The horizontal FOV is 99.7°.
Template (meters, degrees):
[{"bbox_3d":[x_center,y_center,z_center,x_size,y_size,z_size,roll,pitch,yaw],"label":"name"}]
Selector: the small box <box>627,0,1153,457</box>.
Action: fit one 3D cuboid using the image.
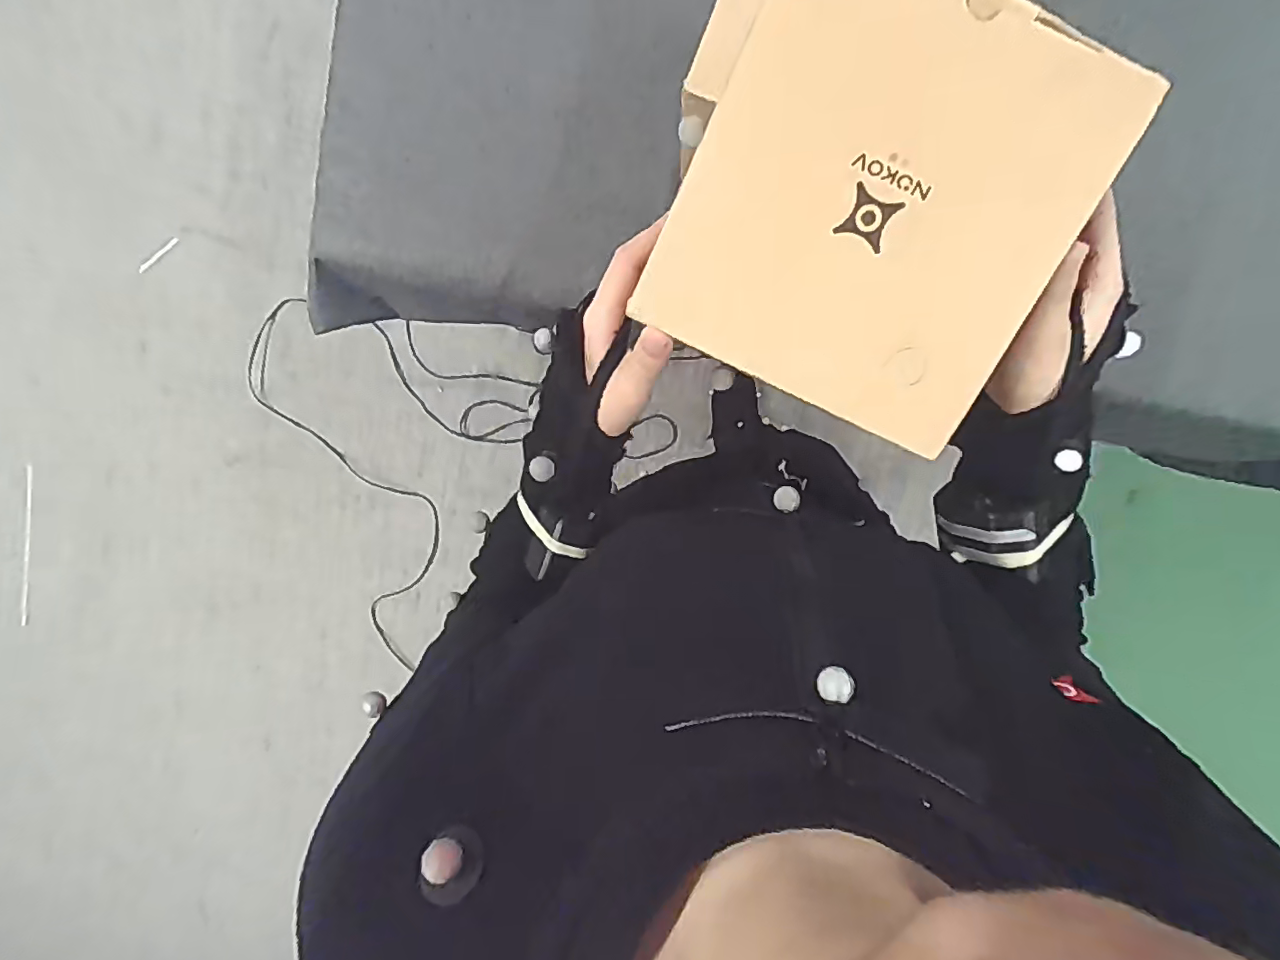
[{"bbox_3d":[0.110,-0.137,0.317,0.168,0.176,0.179,25,104,-1],"label":"small box"}]
